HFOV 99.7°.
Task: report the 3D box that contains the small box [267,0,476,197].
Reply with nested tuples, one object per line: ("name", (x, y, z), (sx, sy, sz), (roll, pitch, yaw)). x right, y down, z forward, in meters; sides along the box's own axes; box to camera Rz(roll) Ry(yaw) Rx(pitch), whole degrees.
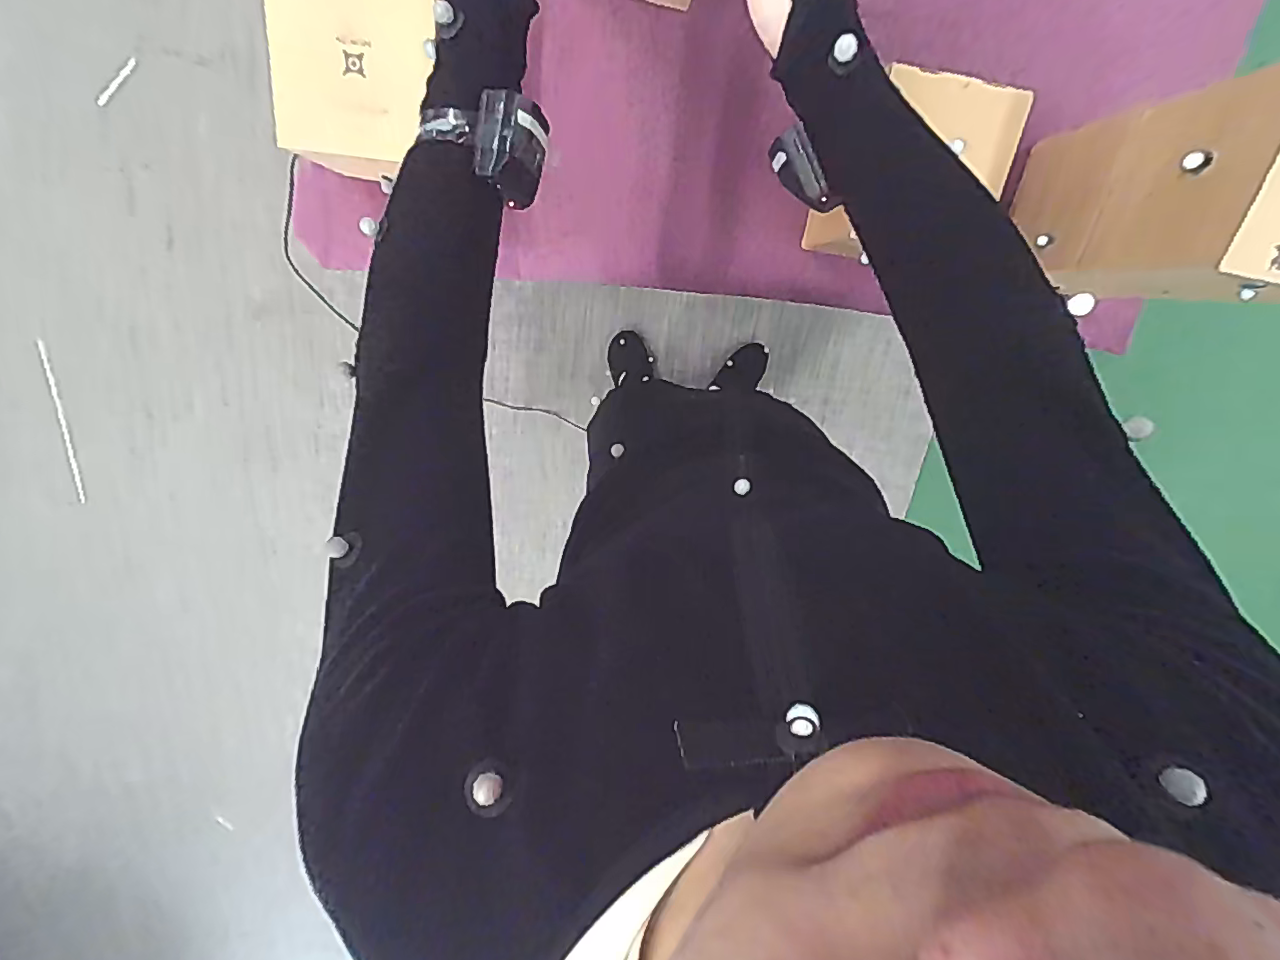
("small box", (-0.292, -0.446, 0.623), (0.168, 0.176, 0.179), (5, 109, -4))

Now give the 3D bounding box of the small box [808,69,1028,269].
("small box", (0.328, -0.371, 0.682), (0.168, 0.176, 0.179), (7, 107, -5))

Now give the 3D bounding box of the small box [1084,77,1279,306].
("small box", (0.615, -0.281, 0.550), (0.168, 0.176, 0.179), (9, 108, -5))
